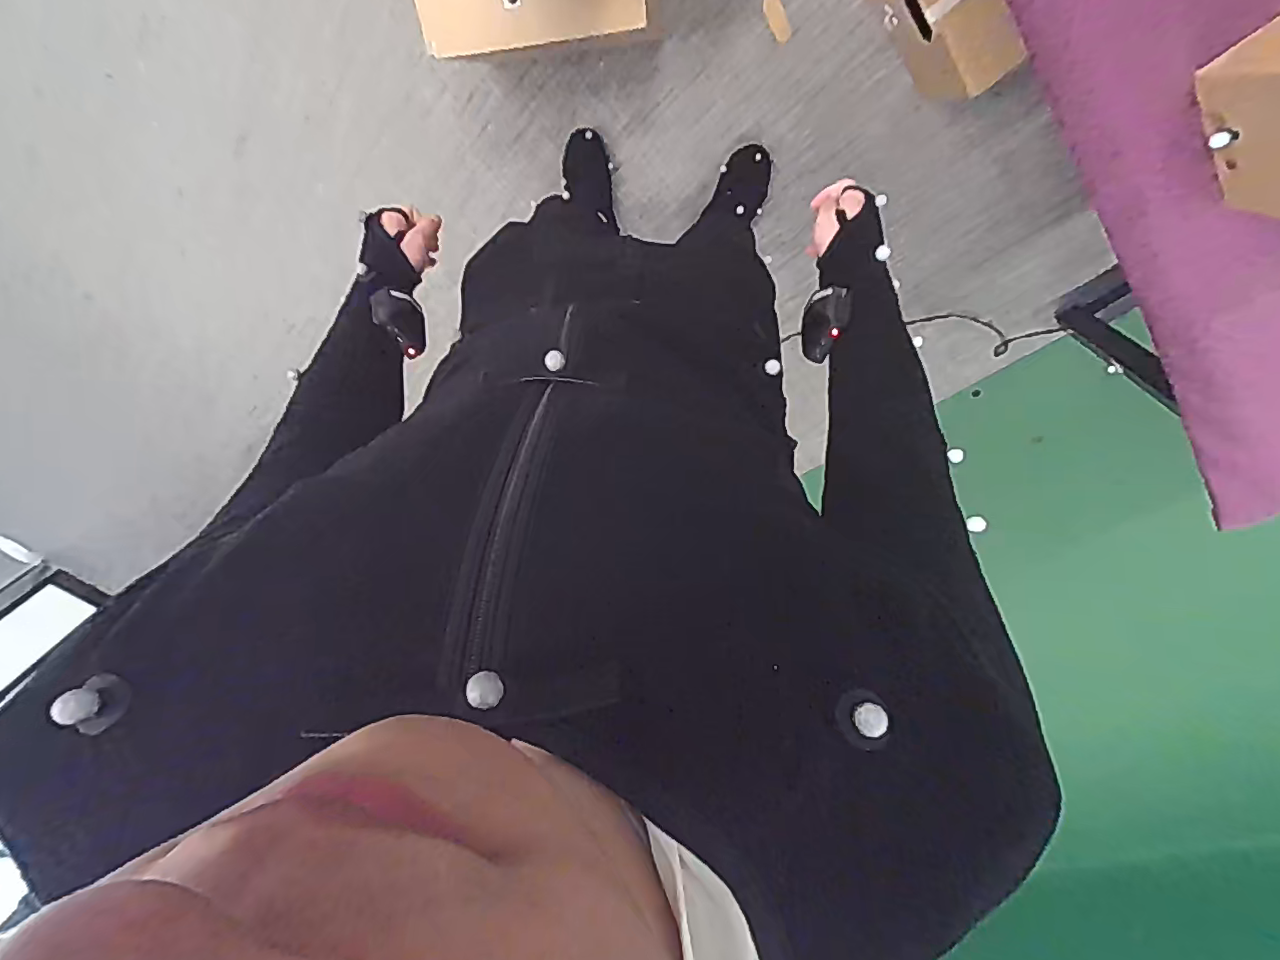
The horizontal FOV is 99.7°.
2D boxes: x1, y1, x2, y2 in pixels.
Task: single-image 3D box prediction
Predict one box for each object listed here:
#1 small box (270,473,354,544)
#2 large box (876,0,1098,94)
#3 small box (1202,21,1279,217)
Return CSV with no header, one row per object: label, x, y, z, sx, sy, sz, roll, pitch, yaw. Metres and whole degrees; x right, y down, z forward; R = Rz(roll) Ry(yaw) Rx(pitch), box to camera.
small box,-1.200,0.097,1.988,0.179,0.176,0.168,41,122,-20
large box,0.635,-0.932,0.887,0.408,0.320,0.320,-34,115,28
small box,0.675,-0.354,0.477,0.179,0.176,0.168,-32,115,27
